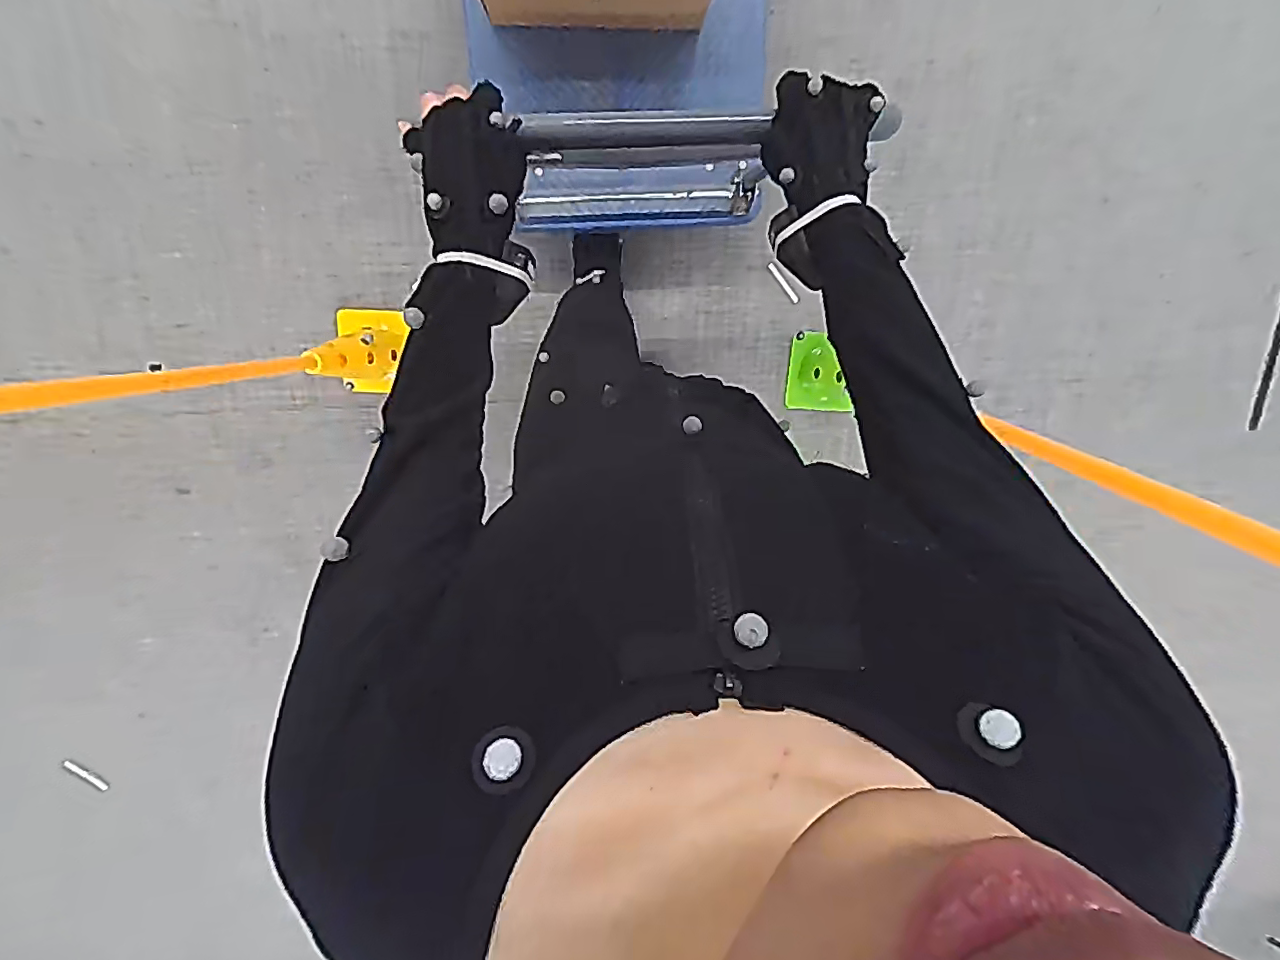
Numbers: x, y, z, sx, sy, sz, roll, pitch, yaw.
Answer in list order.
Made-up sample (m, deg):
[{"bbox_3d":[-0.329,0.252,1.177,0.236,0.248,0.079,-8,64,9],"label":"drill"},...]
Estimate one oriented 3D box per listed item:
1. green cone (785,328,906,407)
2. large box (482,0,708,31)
[{"bbox_3d":[0.501,-0.248,1.264,0.202,0.368,0.200,2,106,-5],"label":"green cone"},{"bbox_3d":[-0.079,-0.971,0.865,0.408,0.320,0.320,-2,107,-3],"label":"large box"}]
